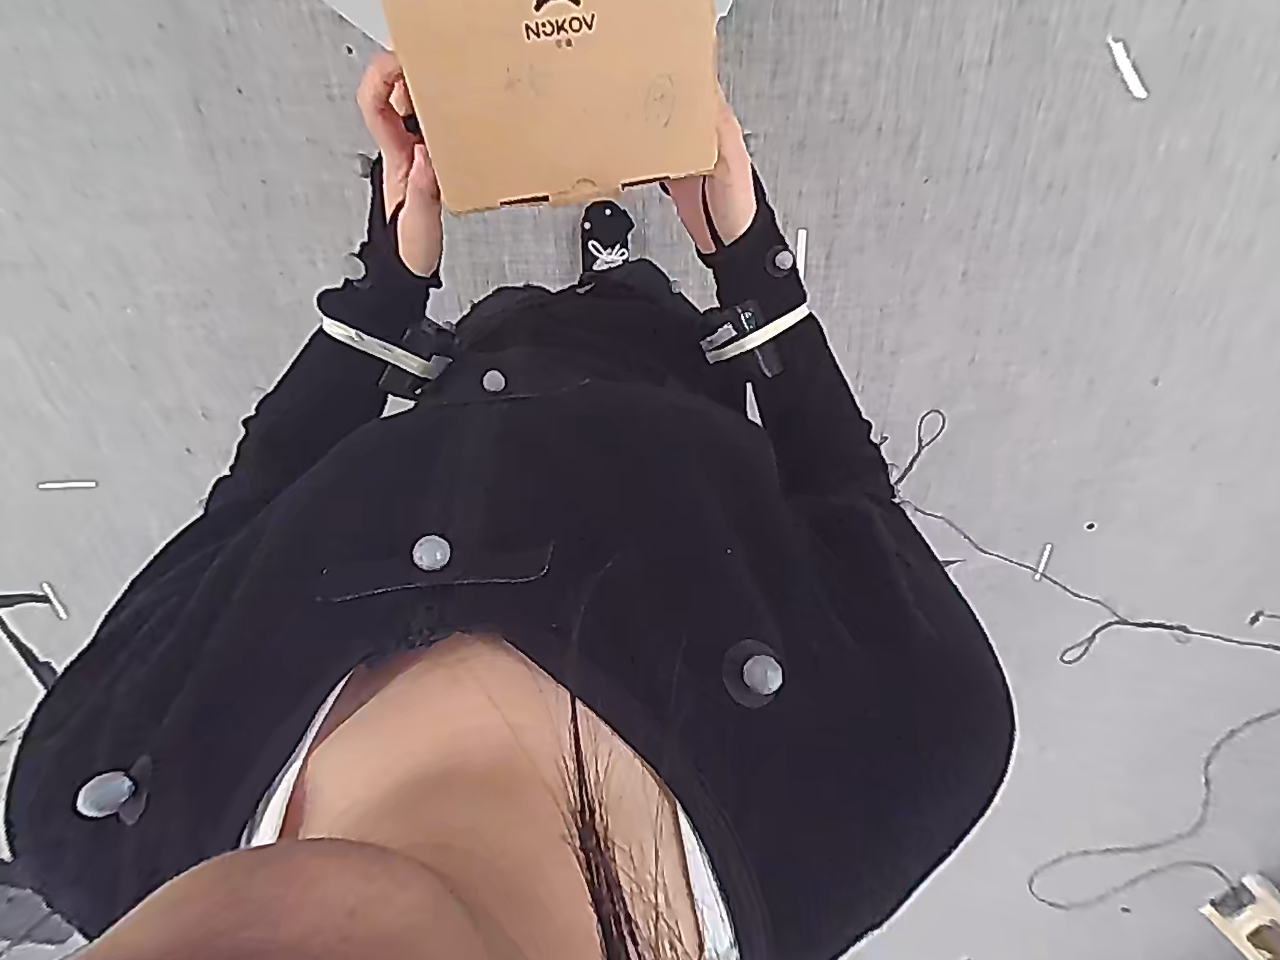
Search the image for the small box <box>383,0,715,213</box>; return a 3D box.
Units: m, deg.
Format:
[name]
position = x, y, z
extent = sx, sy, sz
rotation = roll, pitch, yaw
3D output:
[small box]
position = -0.056, -0.288, 0.330
extent = 0.168, 0.176, 0.179
rotation = -12, 130, -4
